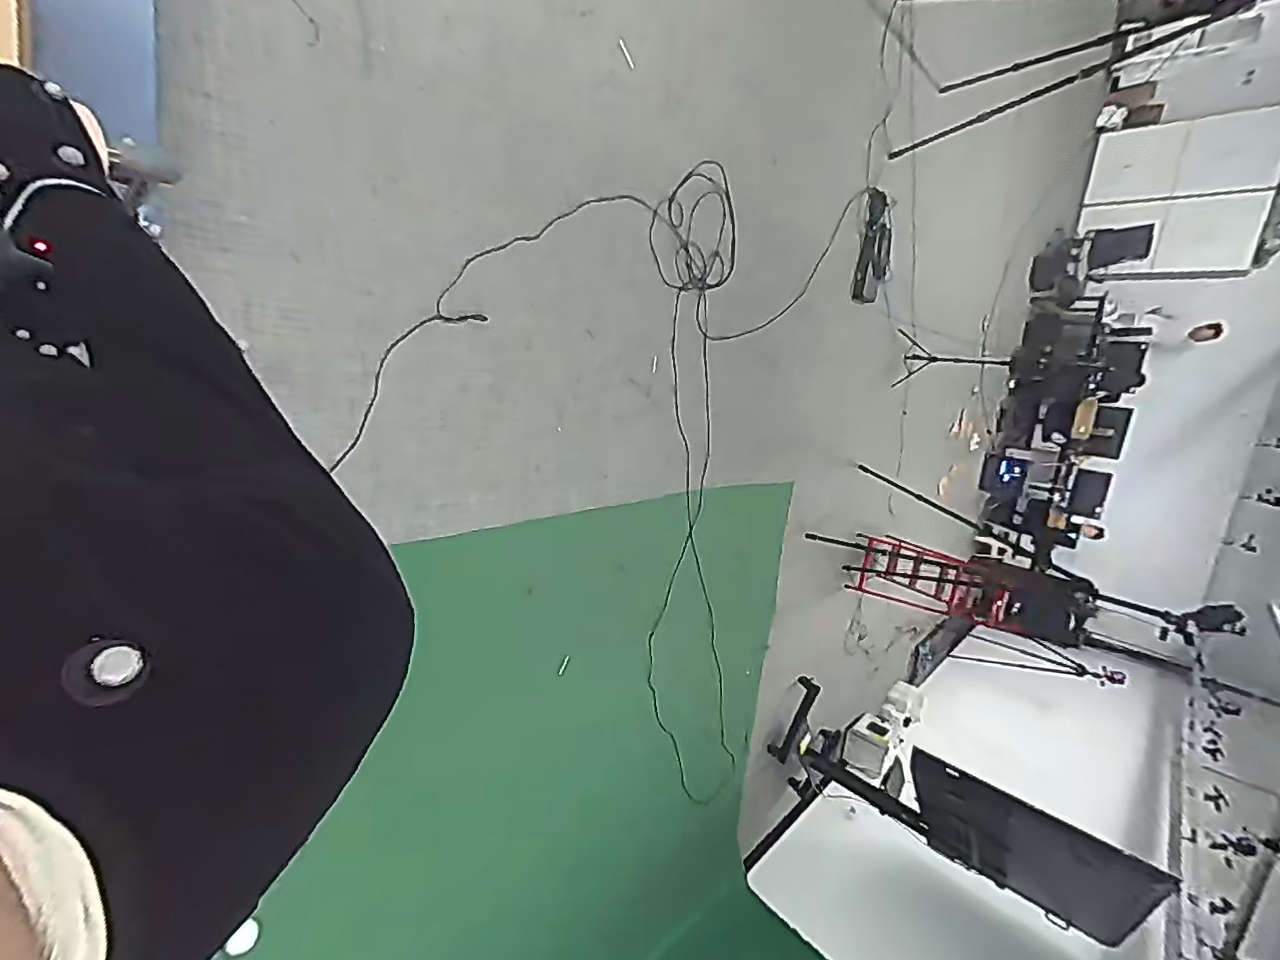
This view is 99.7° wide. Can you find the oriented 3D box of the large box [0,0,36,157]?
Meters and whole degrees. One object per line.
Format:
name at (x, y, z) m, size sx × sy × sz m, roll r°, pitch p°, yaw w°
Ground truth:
large box at (-1.012, -0.703, 0.679) m, size 0.320 × 0.320 × 0.408 m, roll -2°, pitch 102°, yaw -46°
